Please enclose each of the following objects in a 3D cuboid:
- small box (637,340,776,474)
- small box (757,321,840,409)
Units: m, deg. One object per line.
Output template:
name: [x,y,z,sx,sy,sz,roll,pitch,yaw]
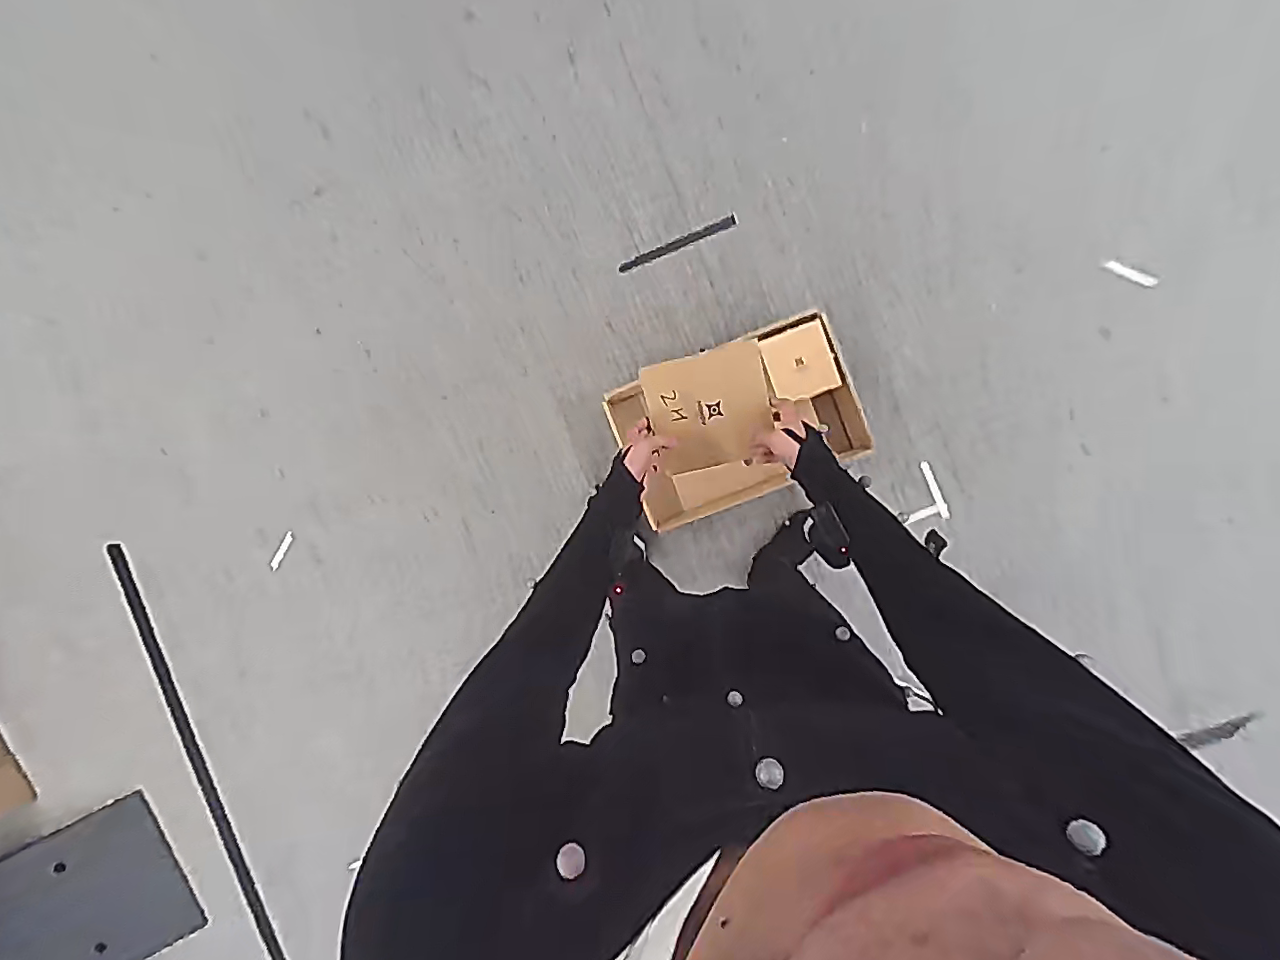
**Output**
small box: [0.103,-0.120,0.852,0.179,0.176,0.168,-12,101,10]
small box: [0.402,-0.299,1.441,0.168,0.176,0.179,-20,94,5]
